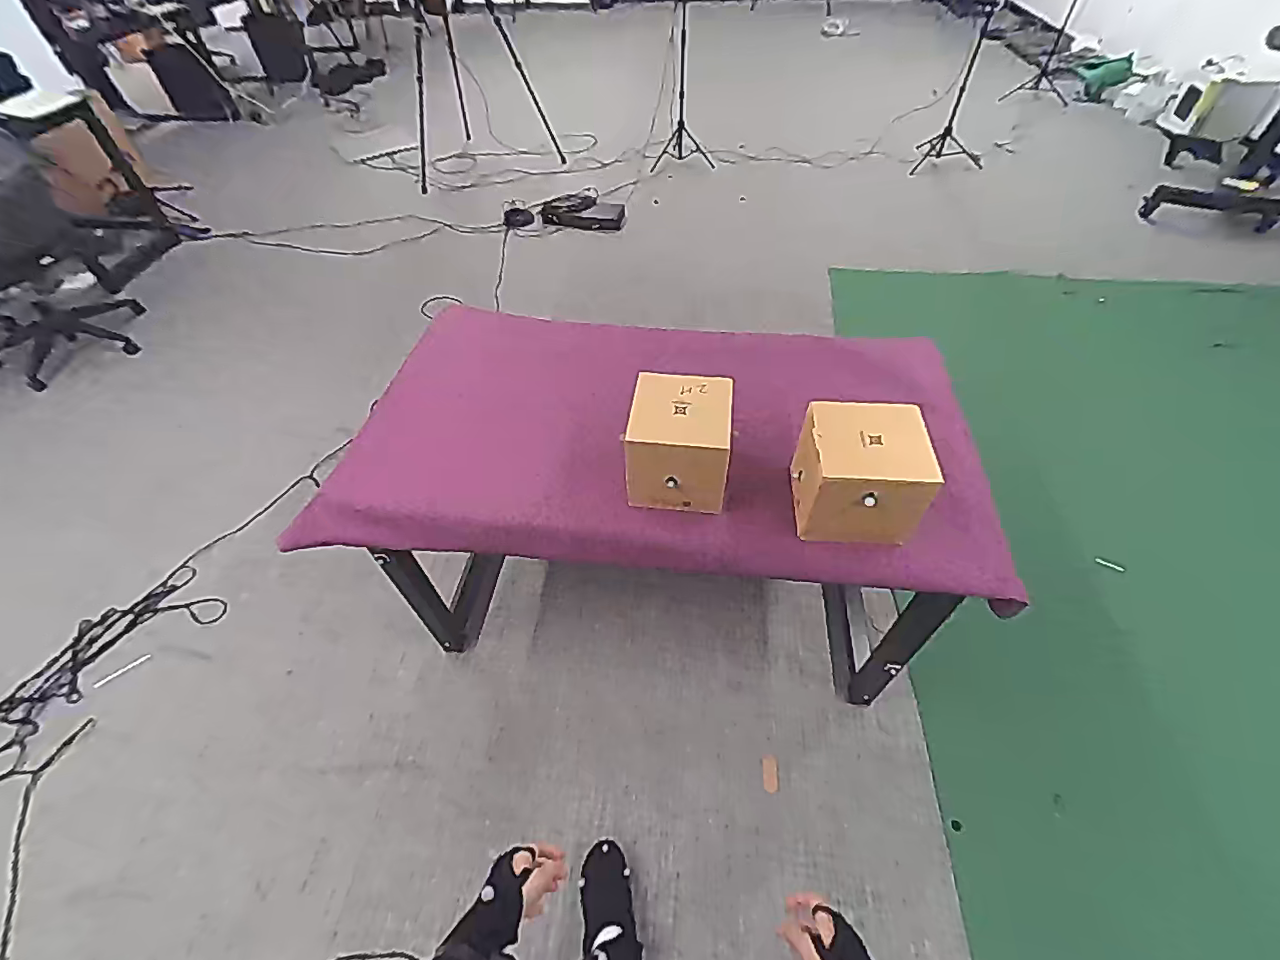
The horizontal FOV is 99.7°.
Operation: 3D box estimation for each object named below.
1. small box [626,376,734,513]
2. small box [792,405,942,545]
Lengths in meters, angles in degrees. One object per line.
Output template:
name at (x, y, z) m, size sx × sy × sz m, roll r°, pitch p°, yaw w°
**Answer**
small box at (0.073, -0.060, 0.955) m, size 0.168 × 0.176 × 0.179 m, roll 6°, pitch 49°, yaw 6°
small box at (0.362, -0.005, 0.900) m, size 0.179 × 0.176 × 0.168 m, roll 2°, pitch 51°, yaw 6°
